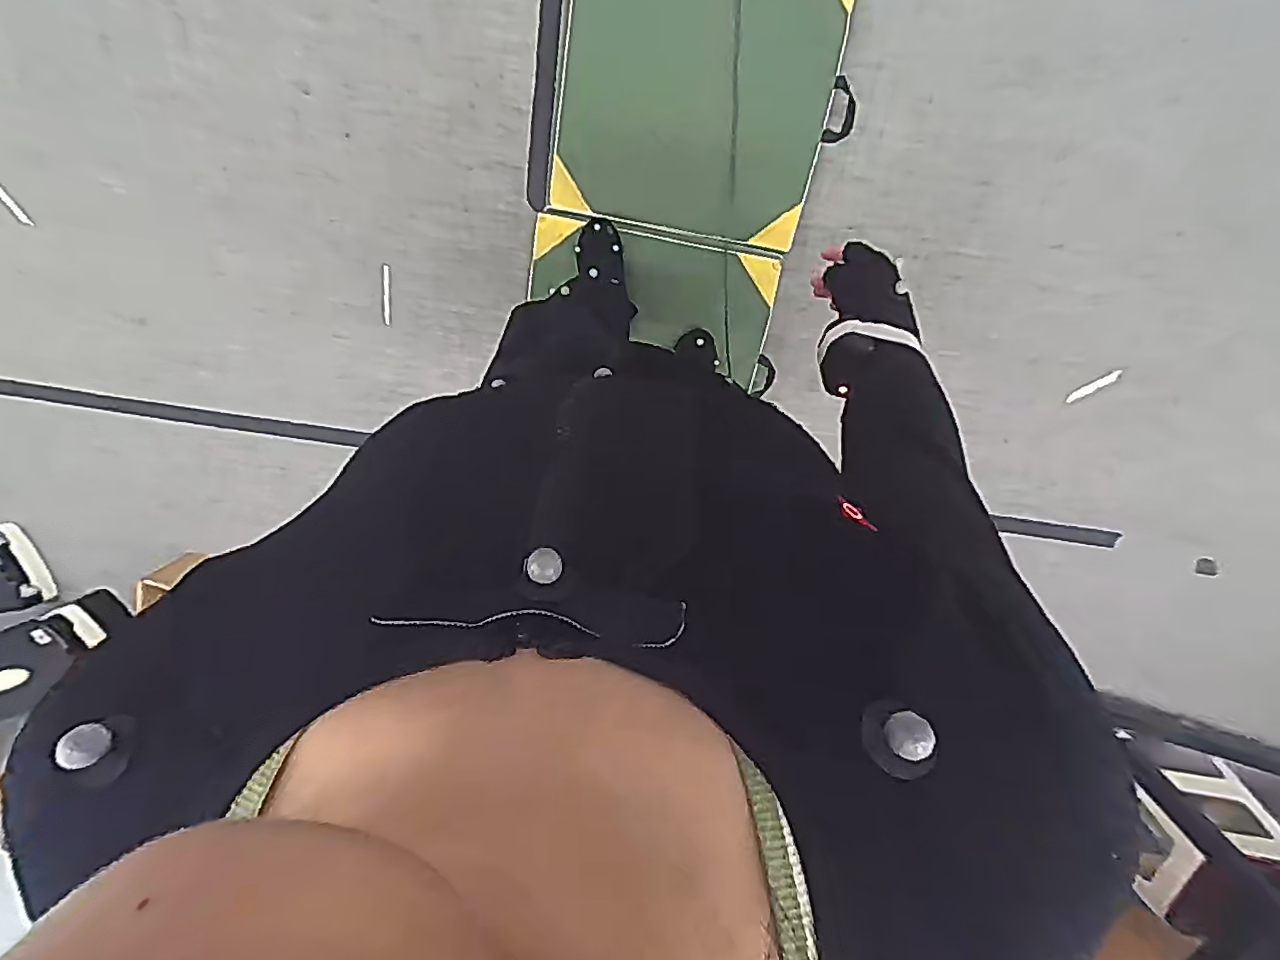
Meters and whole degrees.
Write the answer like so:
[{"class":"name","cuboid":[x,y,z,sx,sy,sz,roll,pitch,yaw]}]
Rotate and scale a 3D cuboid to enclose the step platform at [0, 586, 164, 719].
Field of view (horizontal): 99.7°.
[{"class":"step platform","cuboid":[-2.045,0.606,1.855,0.684,0.204,0.286,-19,108,10]}]
